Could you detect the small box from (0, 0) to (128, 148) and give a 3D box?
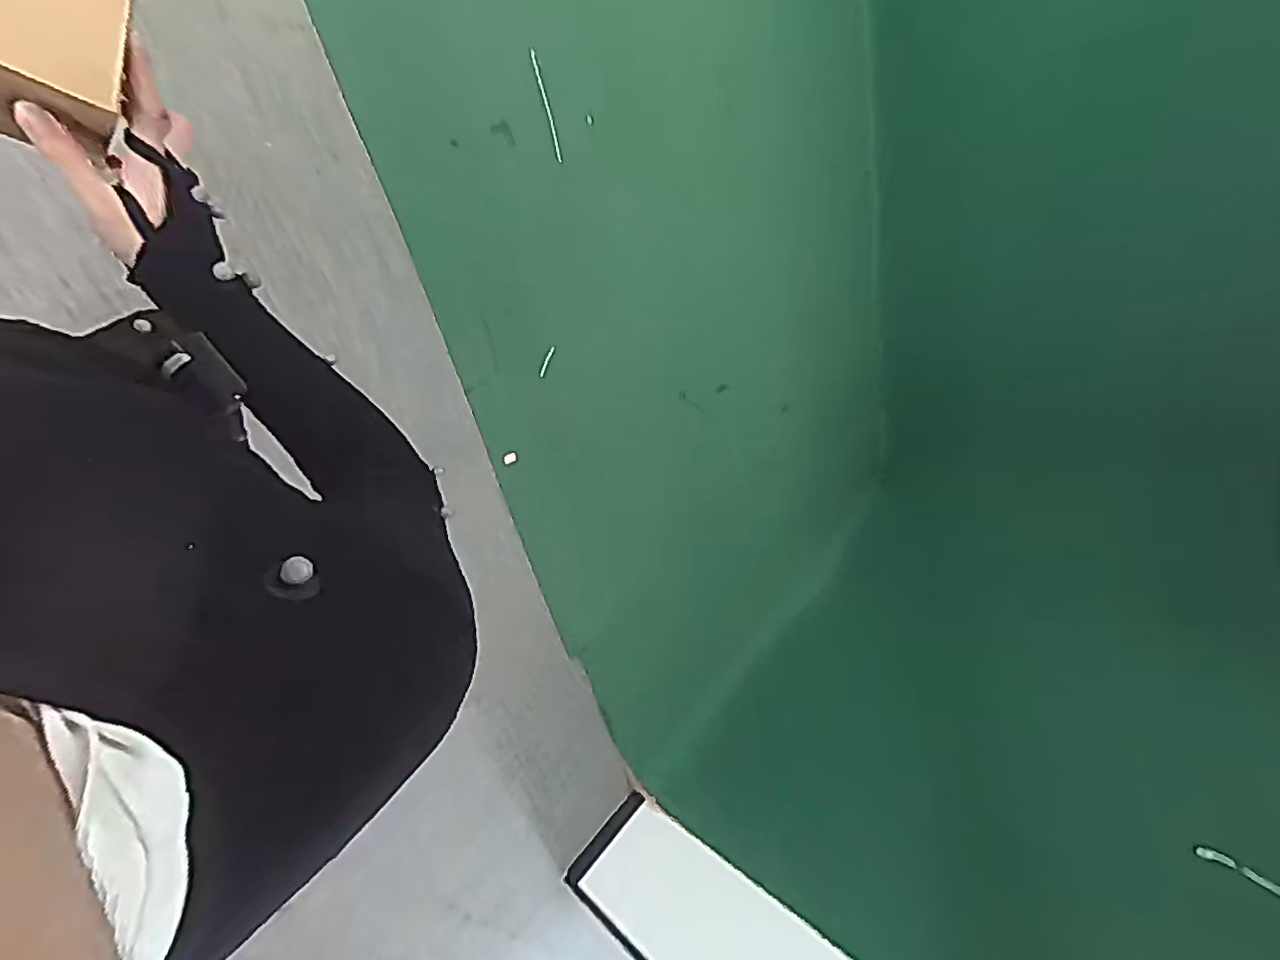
[{"bbox_3d":[-0.456,-0.352,0.350,0.179,0.176,0.168,5,94,-48],"label":"small box"}]
